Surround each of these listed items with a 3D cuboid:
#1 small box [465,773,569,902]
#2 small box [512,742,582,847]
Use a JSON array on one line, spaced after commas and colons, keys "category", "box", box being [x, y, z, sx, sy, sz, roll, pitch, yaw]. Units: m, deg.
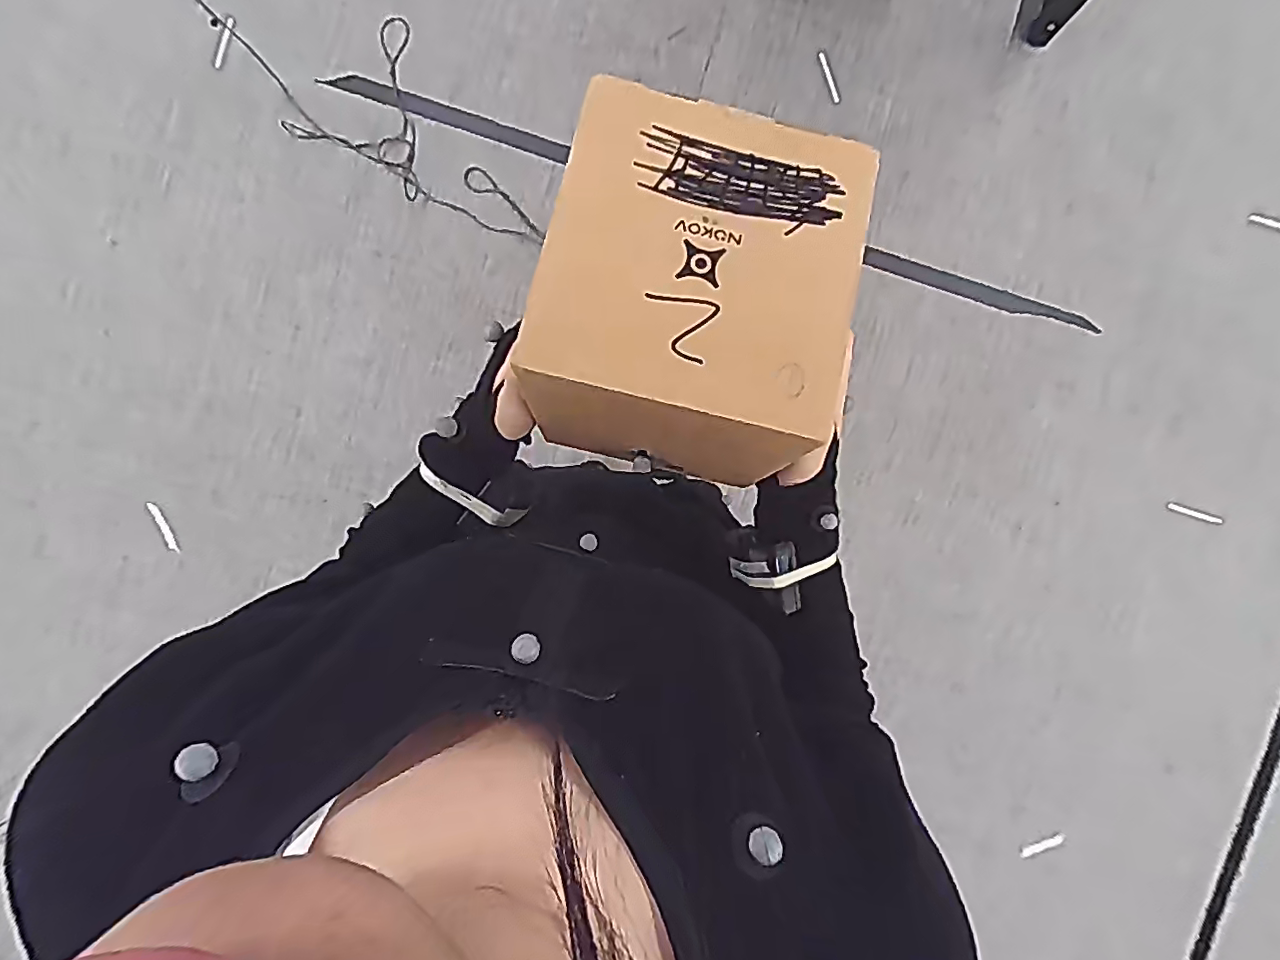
[{"category": "small box", "box": [-0.276, 0.812, 1.250, 0.179, 0.176, 0.168, 15, 93, 0]}, {"category": "small box", "box": [-0.253, 0.814, 1.415, 0.179, 0.176, 0.168, 11, 91, -1]}]
